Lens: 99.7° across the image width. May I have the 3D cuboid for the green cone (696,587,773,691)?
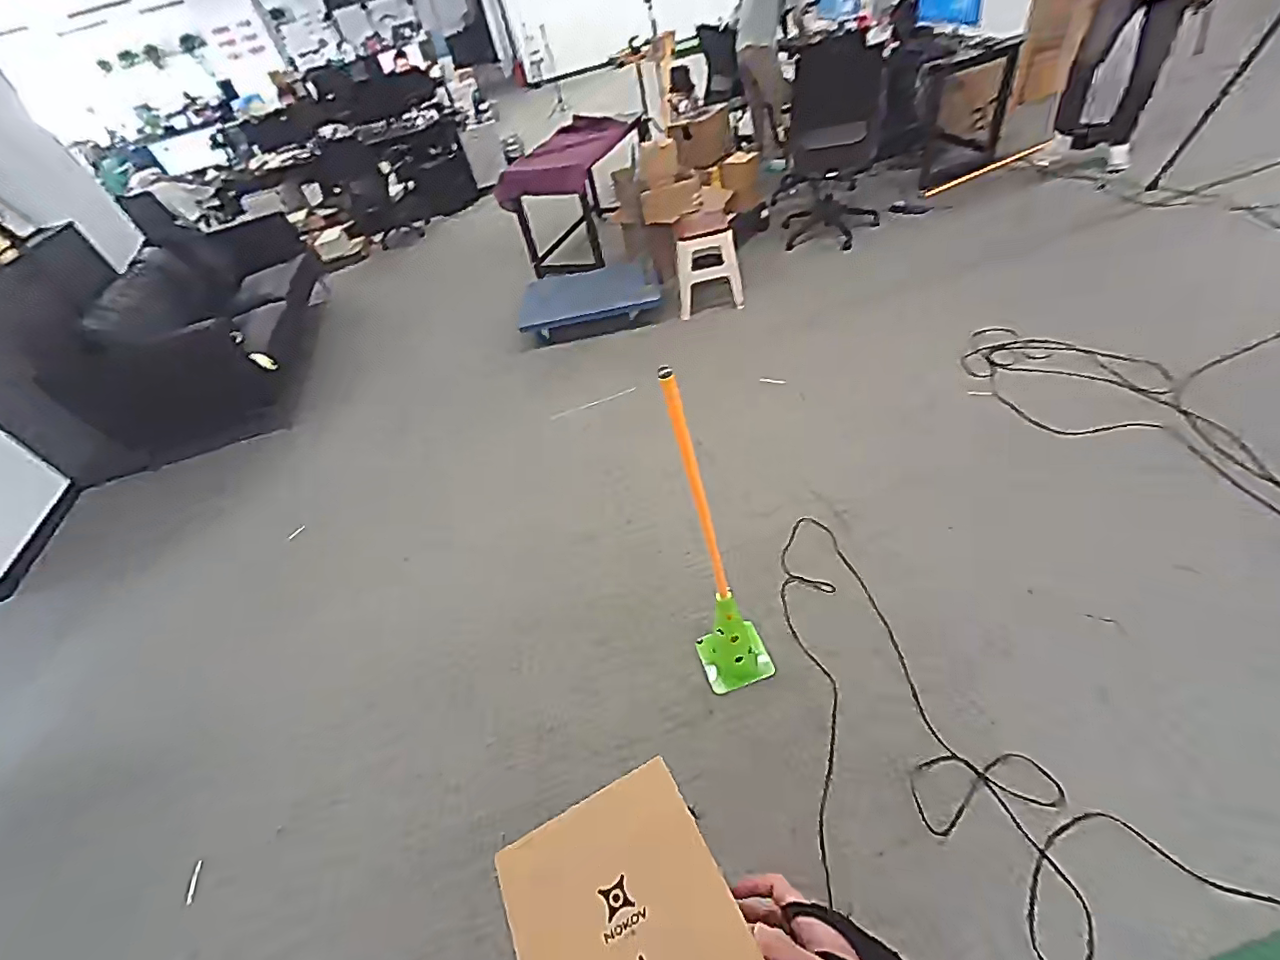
[{"bbox_3d":[0.268,0.437,1.599,0.202,0.368,0.200,-18,45,-4],"label":"green cone"}]
